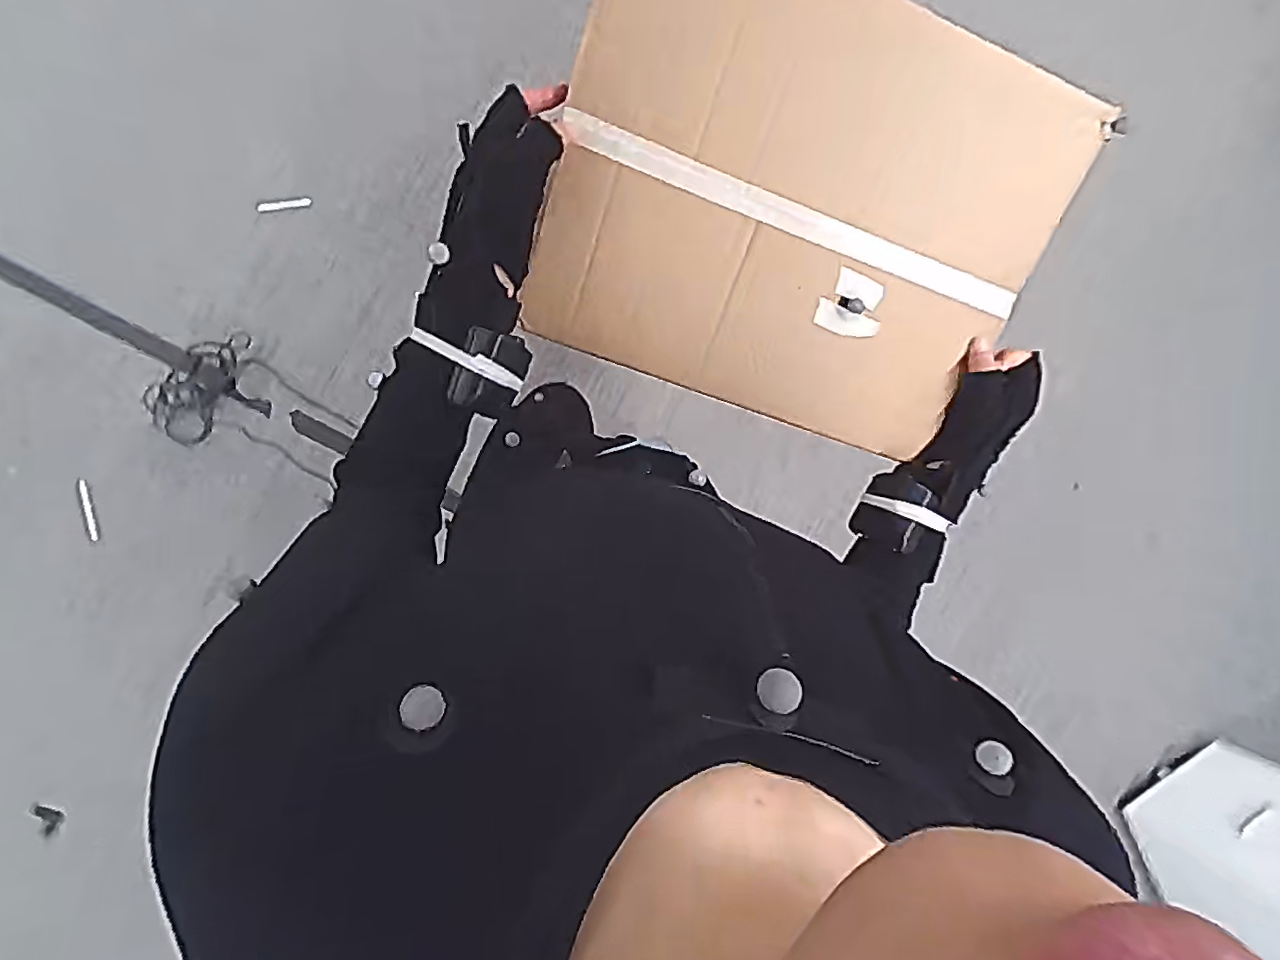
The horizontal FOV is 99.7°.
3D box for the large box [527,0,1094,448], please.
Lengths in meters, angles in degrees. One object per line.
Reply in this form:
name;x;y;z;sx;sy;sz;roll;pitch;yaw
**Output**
large box;0.123;-0.272;0.589;0.408;0.320;0.320;17;110;-11
